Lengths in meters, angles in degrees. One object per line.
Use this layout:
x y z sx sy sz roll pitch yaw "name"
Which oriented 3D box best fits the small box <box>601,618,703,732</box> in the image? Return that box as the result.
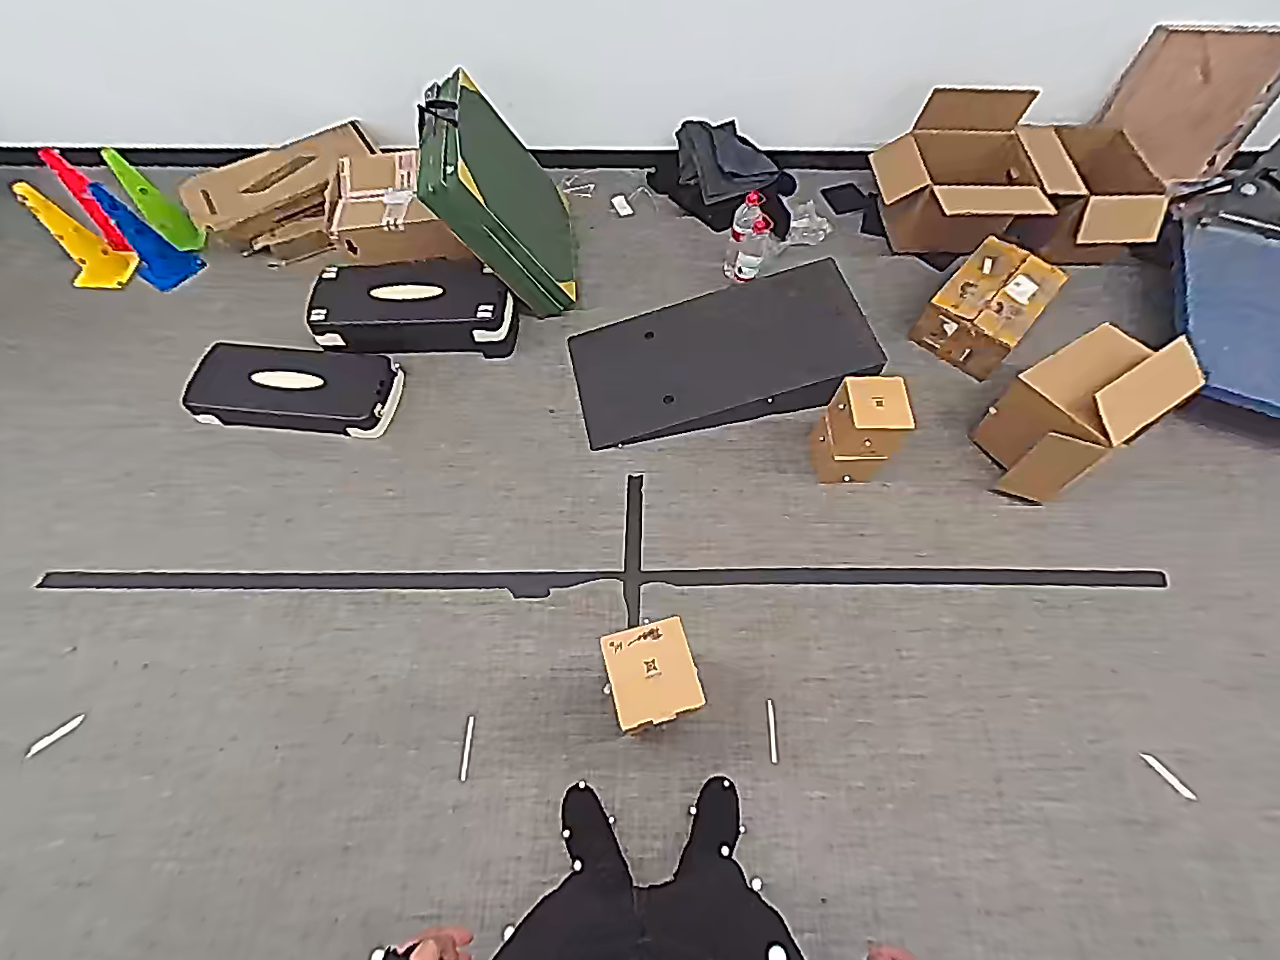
0.021 0.402 1.107 0.168 0.176 0.179 -13 65 -7 "small box"
